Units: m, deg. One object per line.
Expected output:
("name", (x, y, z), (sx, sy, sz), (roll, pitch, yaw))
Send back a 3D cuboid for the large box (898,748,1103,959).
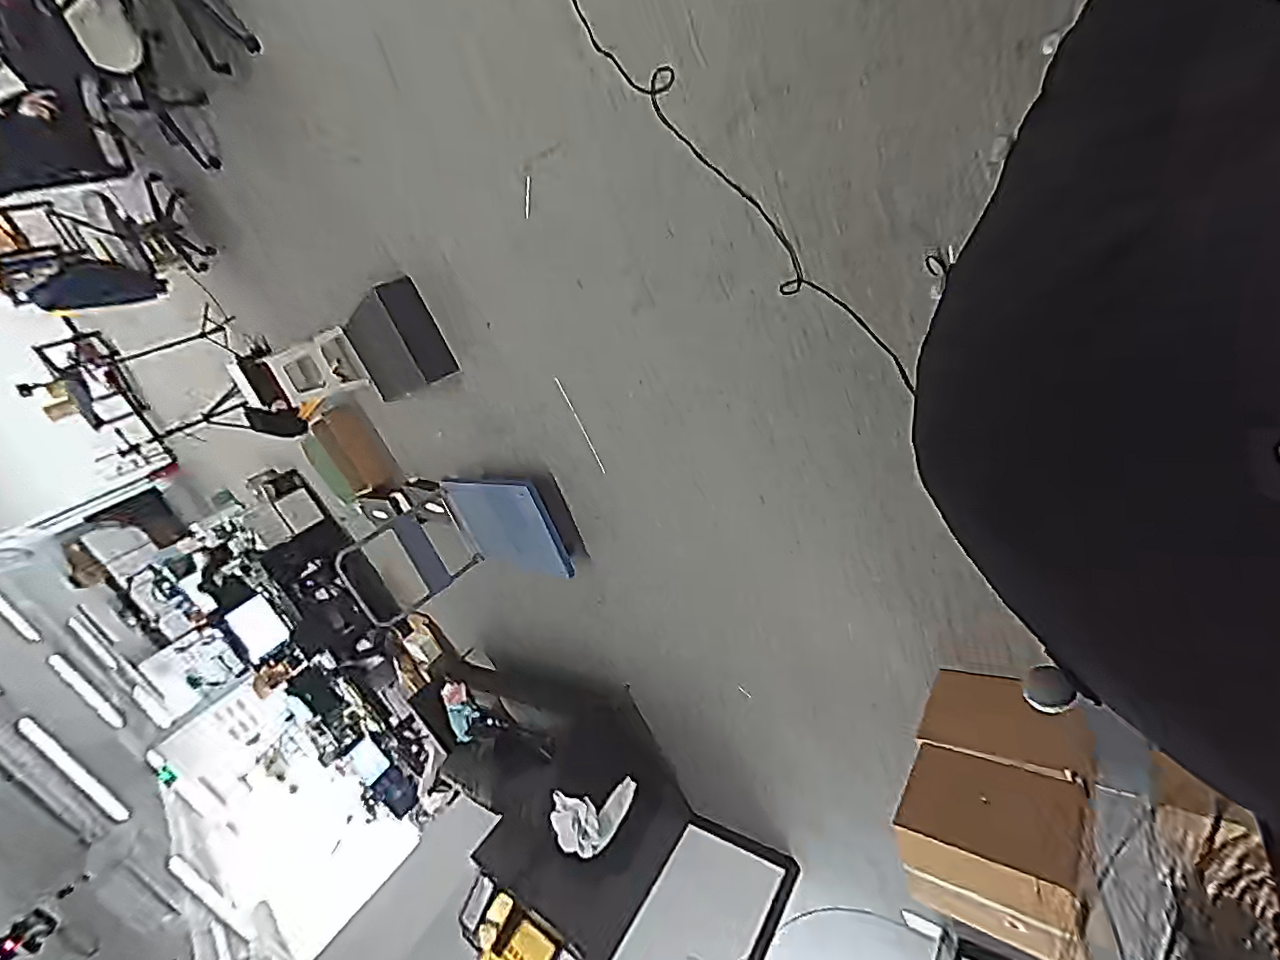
("large box", (0.994, 1.017, 1.494), (0.408, 0.320, 0.320), (-5, 112, 45))
